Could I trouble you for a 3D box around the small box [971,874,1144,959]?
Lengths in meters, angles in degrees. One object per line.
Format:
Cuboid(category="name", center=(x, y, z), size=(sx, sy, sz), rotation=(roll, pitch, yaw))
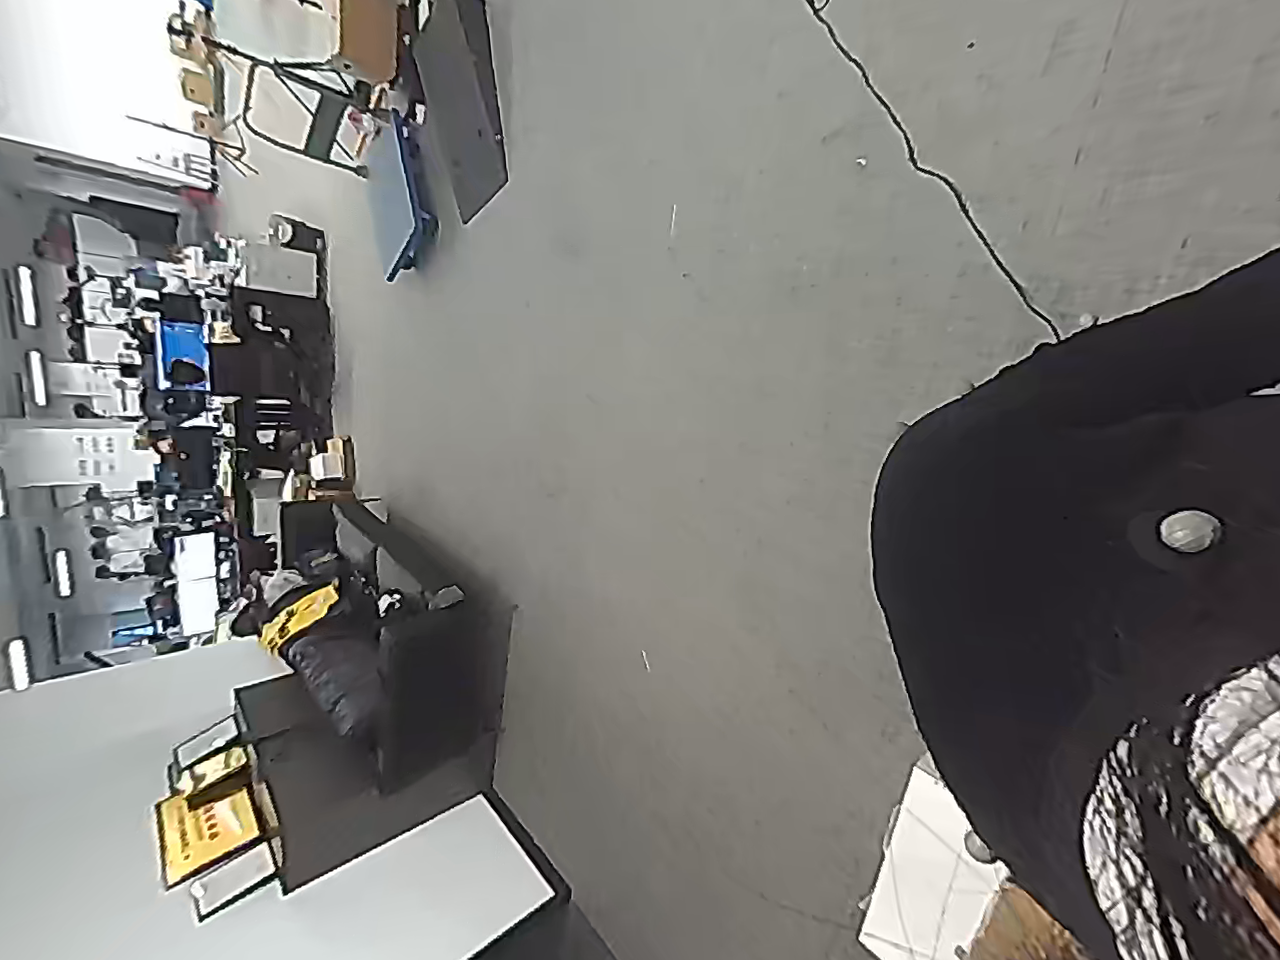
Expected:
Cuboid(category="small box", center=(0.543, 0.692, 0.720), size=(0.168, 0.176, 0.179), rotation=(26, 113, 42))
